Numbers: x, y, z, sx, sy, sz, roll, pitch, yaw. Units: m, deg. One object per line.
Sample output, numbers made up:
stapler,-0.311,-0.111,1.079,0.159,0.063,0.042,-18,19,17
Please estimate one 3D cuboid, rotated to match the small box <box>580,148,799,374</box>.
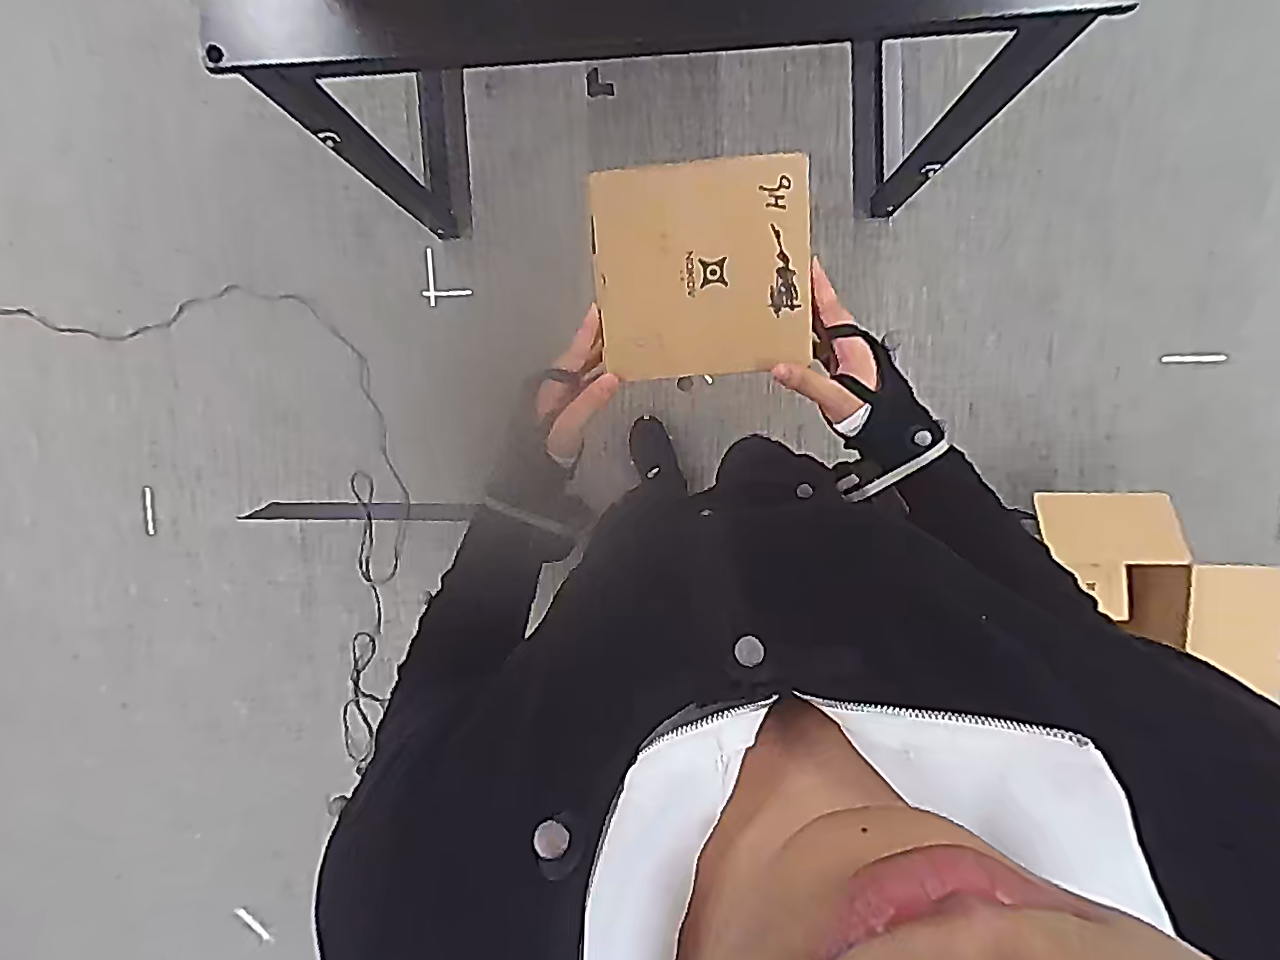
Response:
small box,0.046,-0.190,0.520,0.179,0.176,0.168,-3,101,2
